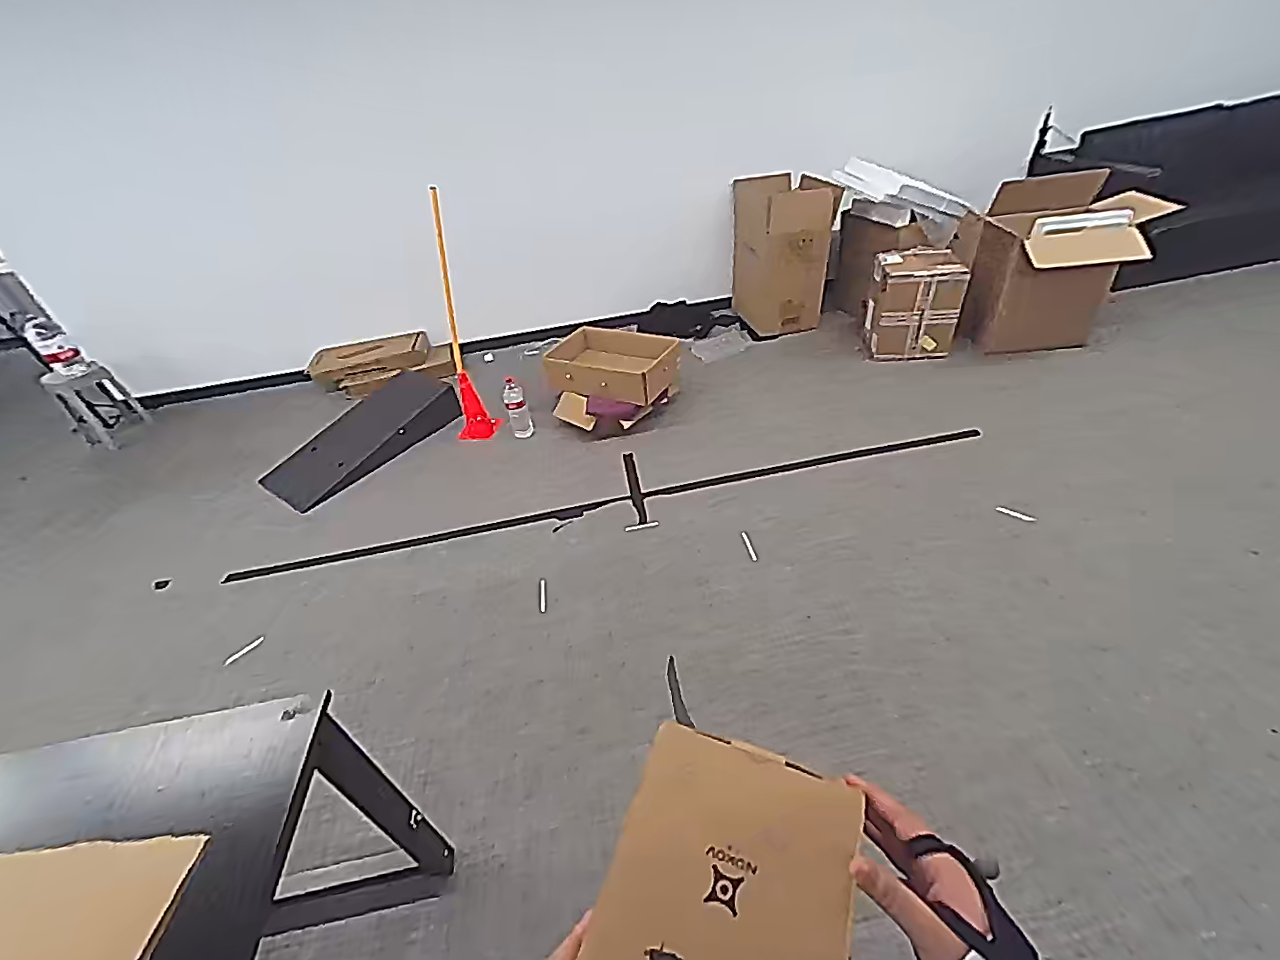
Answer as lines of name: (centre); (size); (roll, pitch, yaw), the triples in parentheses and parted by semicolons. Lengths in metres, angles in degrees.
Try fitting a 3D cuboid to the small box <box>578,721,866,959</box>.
small box: (0.072, 0.336, 0.435); (0.168, 0.176, 0.179); (11, 47, 21)
